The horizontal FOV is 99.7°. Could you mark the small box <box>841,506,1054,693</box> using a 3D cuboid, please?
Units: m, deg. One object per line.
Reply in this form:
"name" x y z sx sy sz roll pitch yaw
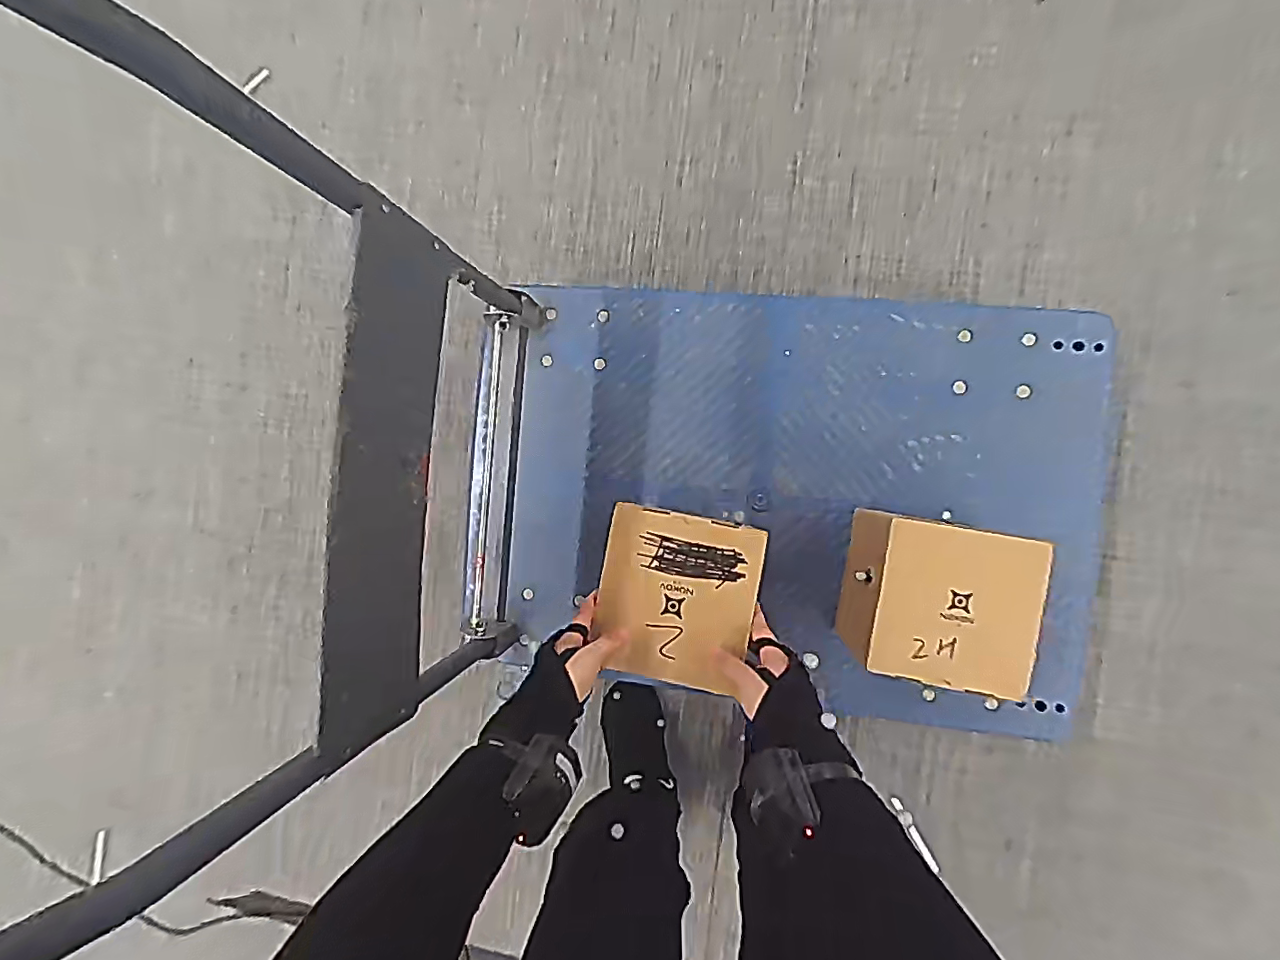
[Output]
"small box" 0.358 0.130 0.664 0.168 0.176 0.179 9 92 8
